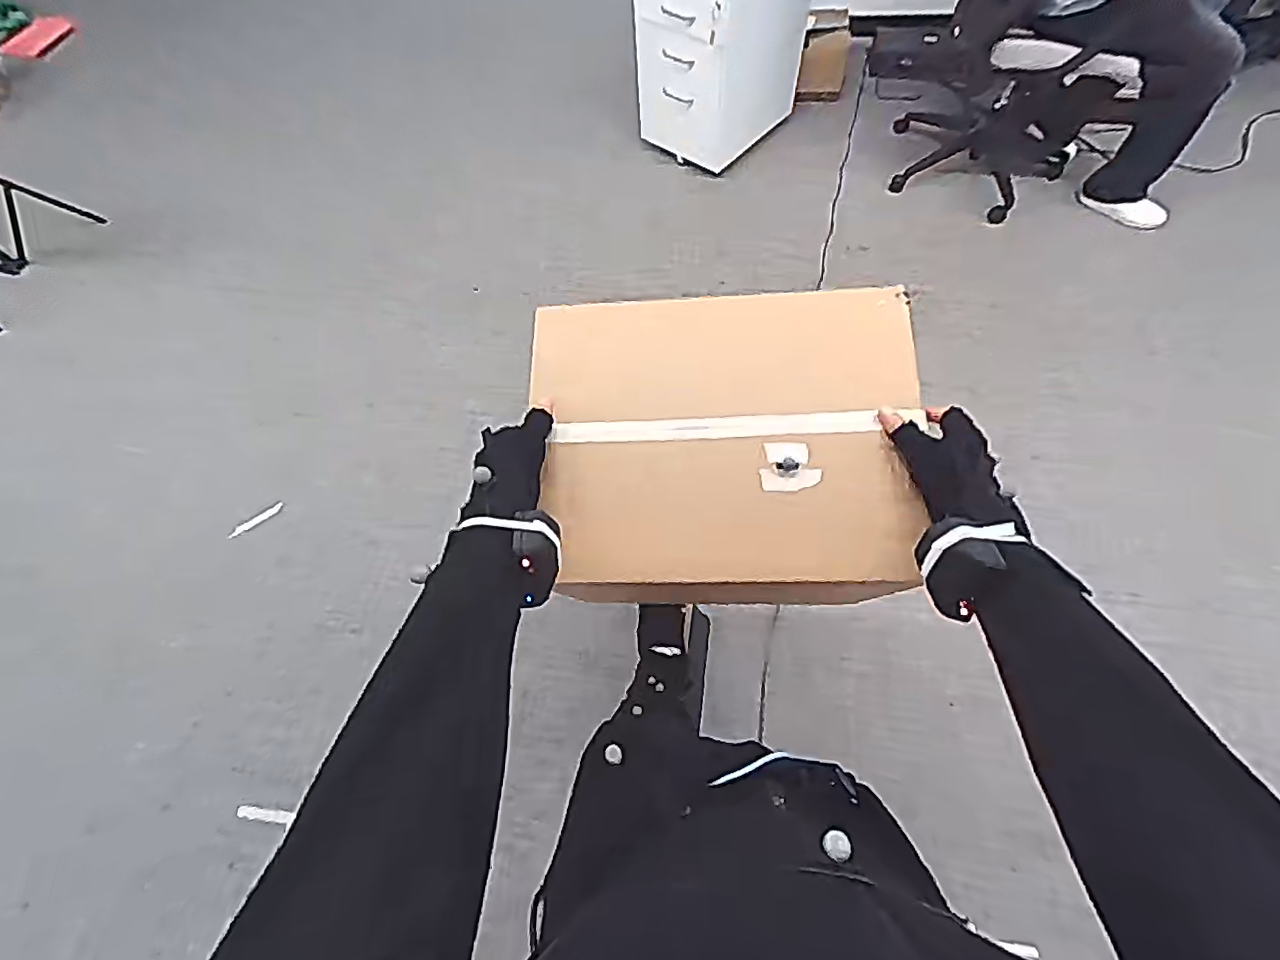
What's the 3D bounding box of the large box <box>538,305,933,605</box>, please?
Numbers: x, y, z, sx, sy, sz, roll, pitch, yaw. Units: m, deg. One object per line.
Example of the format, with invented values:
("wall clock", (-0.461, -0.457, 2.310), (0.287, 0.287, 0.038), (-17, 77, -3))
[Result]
("large box", (0.100, -0.003, 0.725), (0.408, 0.320, 0.320), (-1, 74, 5))
